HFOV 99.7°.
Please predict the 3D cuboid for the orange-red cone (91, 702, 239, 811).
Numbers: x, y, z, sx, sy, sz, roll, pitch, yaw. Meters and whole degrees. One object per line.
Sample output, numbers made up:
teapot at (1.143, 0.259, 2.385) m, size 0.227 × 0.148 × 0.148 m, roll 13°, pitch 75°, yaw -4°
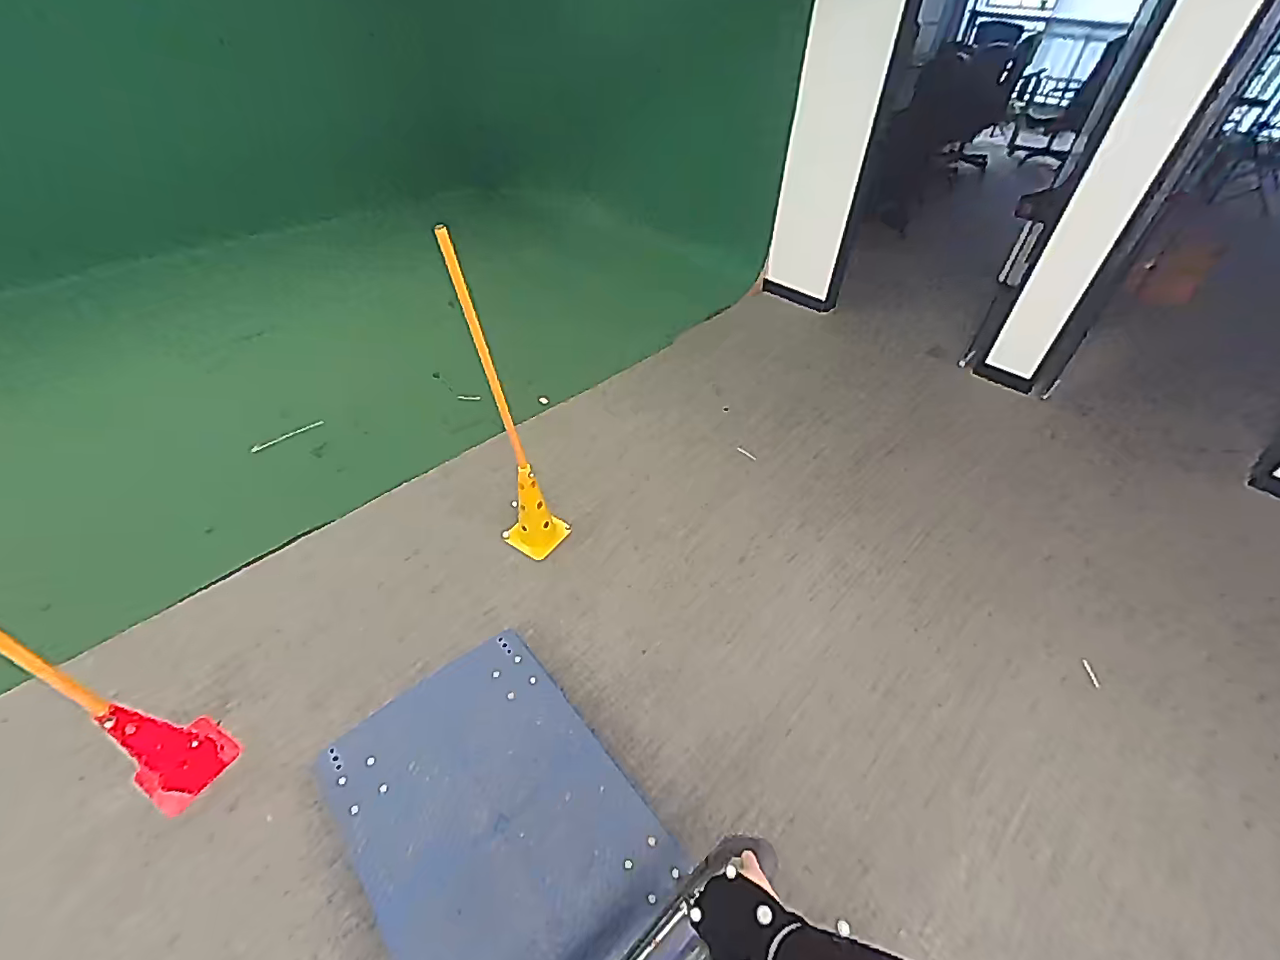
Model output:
orange-red cone at (-1.236, 0.650, 1.359) m, size 0.198 × 0.360 × 0.199 m, roll 23°, pitch 50°, yaw 21°
